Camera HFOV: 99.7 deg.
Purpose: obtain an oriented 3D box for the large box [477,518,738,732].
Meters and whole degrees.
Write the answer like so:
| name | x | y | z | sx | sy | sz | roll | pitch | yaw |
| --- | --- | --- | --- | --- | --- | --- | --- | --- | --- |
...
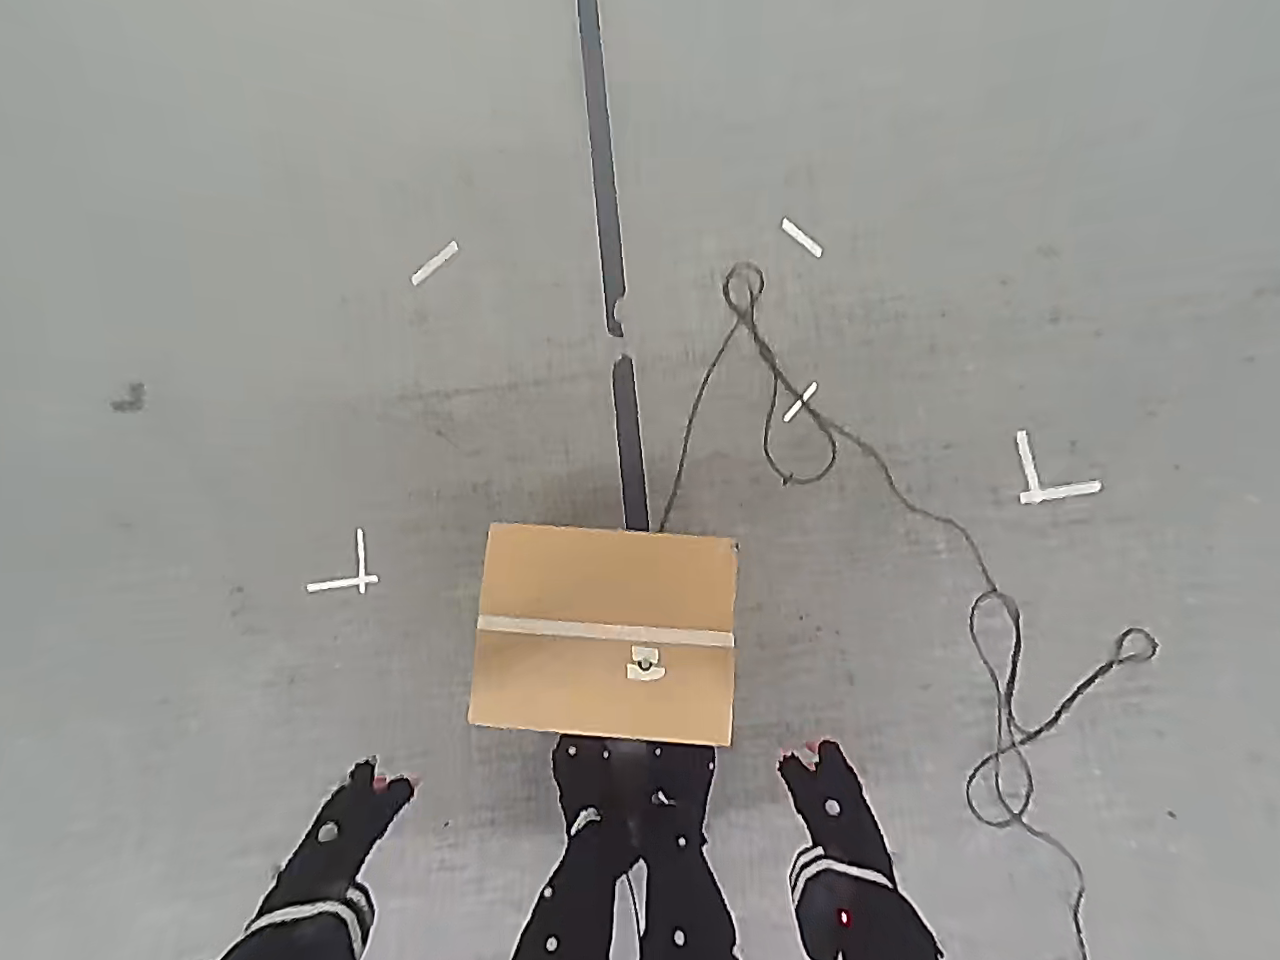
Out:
| name | x | y | z | sx | sy | sz | roll | pitch | yaw |
| --- | --- | --- | --- | --- | --- | --- | --- | --- | --- |
| large box | -0.046 | 0.251 | 0.996 | 0.408 | 0.320 | 0.320 | 3 | 80 | 2 |
